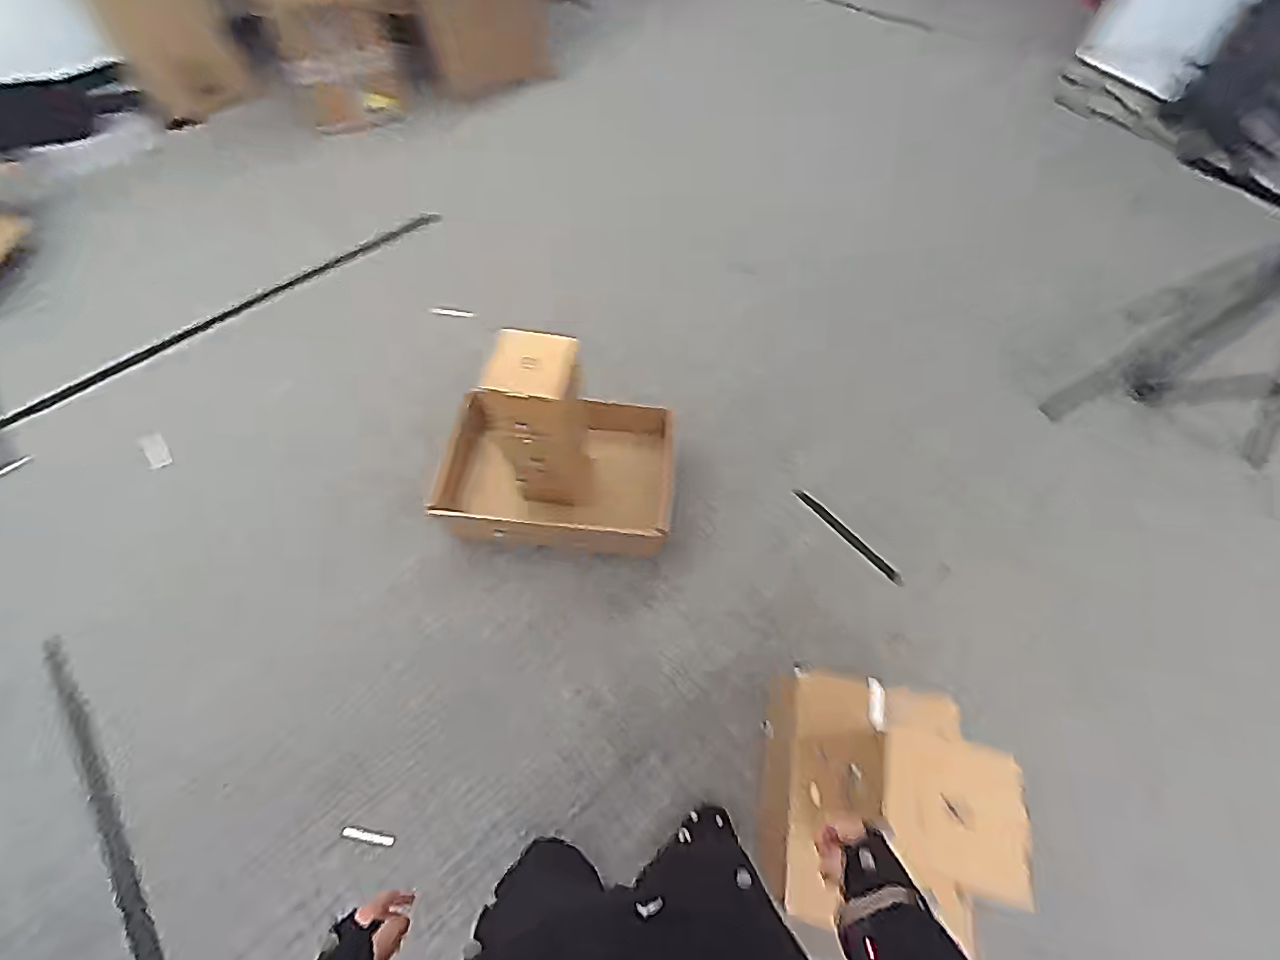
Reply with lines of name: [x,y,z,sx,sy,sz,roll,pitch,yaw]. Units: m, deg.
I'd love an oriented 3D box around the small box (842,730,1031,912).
small box: [0.404,0.465,0.760,0.179,0.176,0.168,13,62,8]

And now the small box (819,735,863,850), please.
small box: [0.411,0.540,0.905,0.179,0.176,0.168,11,63,5]

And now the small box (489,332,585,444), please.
small box: [-0.224,-0.207,1.235,0.168,0.176,0.179,9,62,4]

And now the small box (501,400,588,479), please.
small box: [-0.233,-0.123,1.375,0.168,0.176,0.179,10,62,5]
